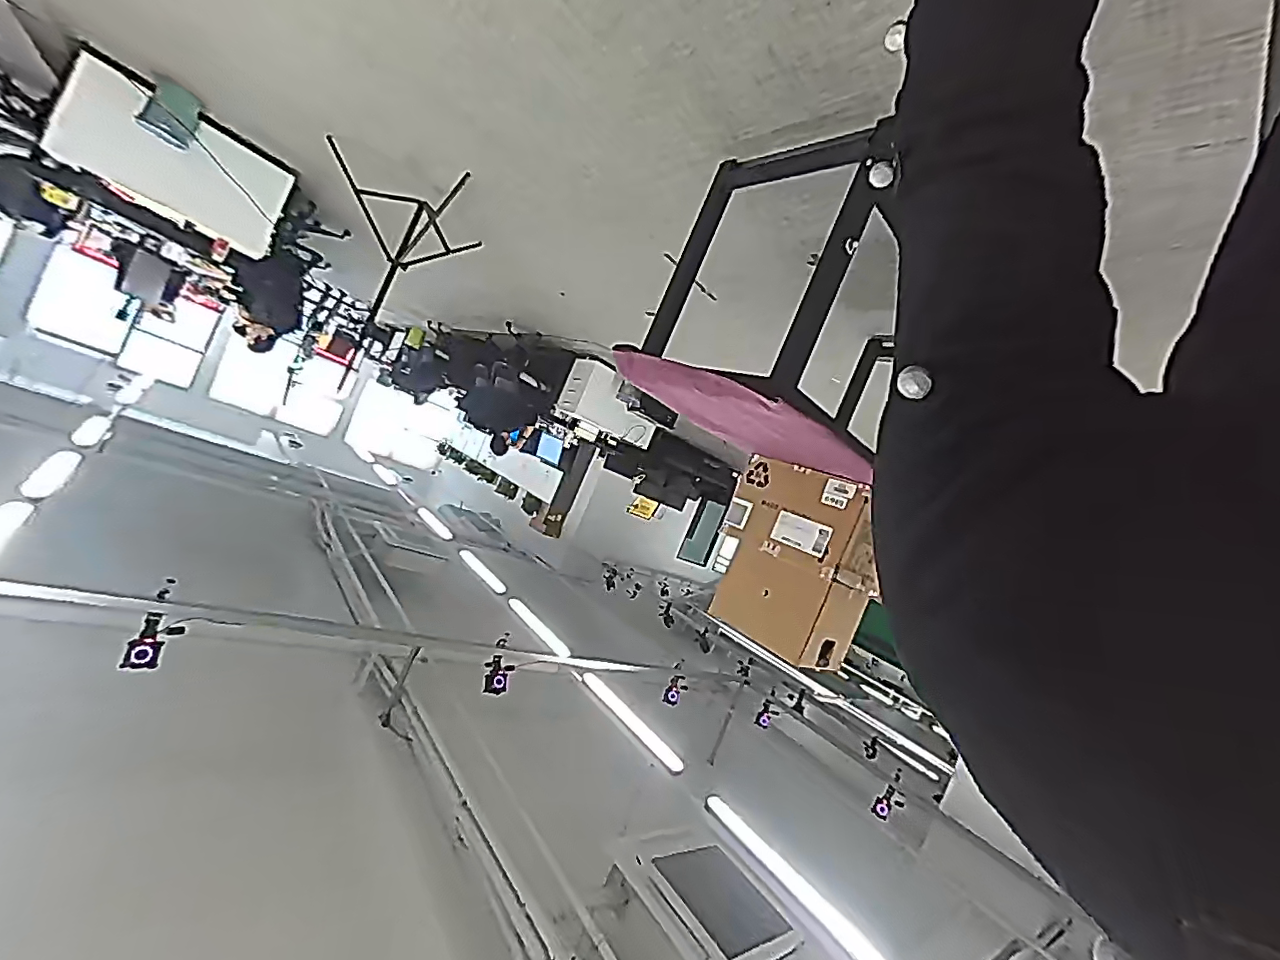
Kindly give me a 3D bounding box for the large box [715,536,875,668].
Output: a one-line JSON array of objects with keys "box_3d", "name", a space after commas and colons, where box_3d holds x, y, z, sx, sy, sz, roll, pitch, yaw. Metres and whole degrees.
[{"box_3d": [0.551, 0.429, 1.950, 0.320, 0.320, 0.408, 22, 180, -40], "name": "large box"}]
